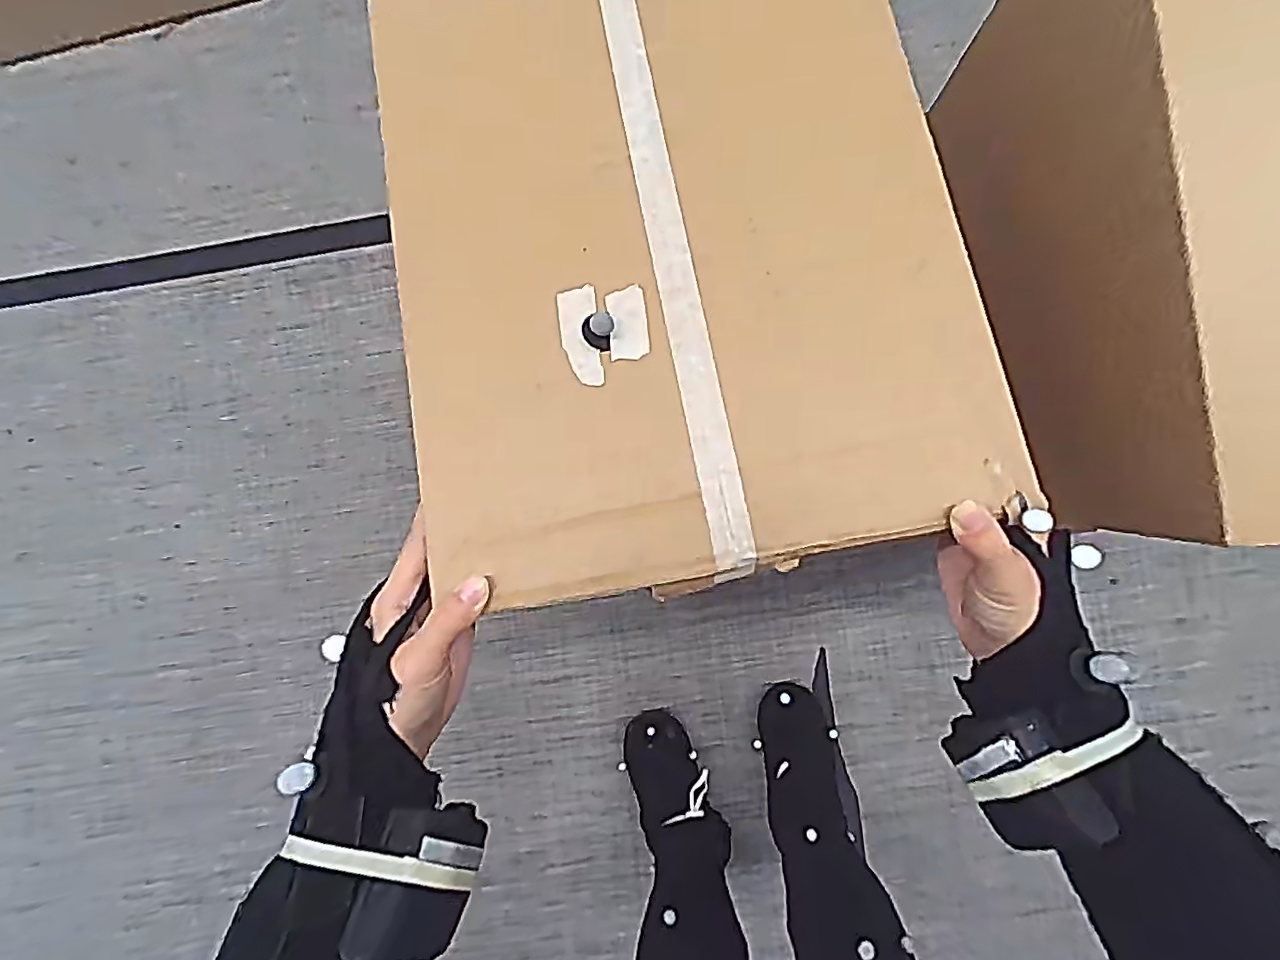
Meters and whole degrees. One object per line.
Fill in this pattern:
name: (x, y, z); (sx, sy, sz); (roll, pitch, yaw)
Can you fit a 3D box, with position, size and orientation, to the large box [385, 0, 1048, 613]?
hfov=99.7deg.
large box: (0.030, -0.127, 0.460); (0.320, 0.320, 0.408); (-11, 80, 2)
